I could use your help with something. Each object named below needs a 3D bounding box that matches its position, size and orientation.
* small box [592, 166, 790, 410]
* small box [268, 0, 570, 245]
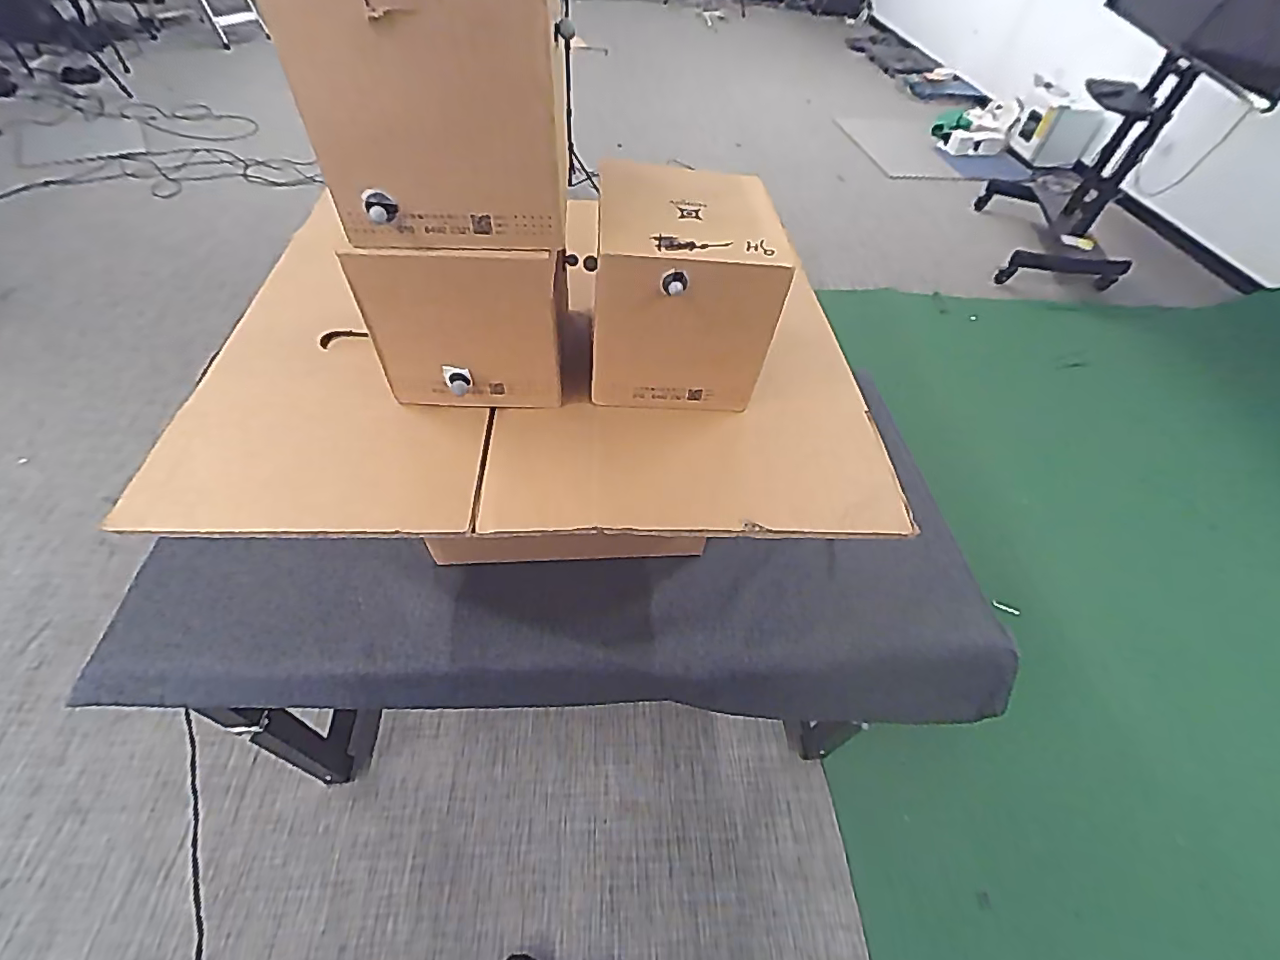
[{"bbox_3d":[0.037,-0.197,0.564,0.168,0.176,0.179,2,50,-5],"label":"small box"},{"bbox_3d":[-0.143,-0.304,0.426,0.168,0.176,0.179,-1,50,-4],"label":"small box"}]
